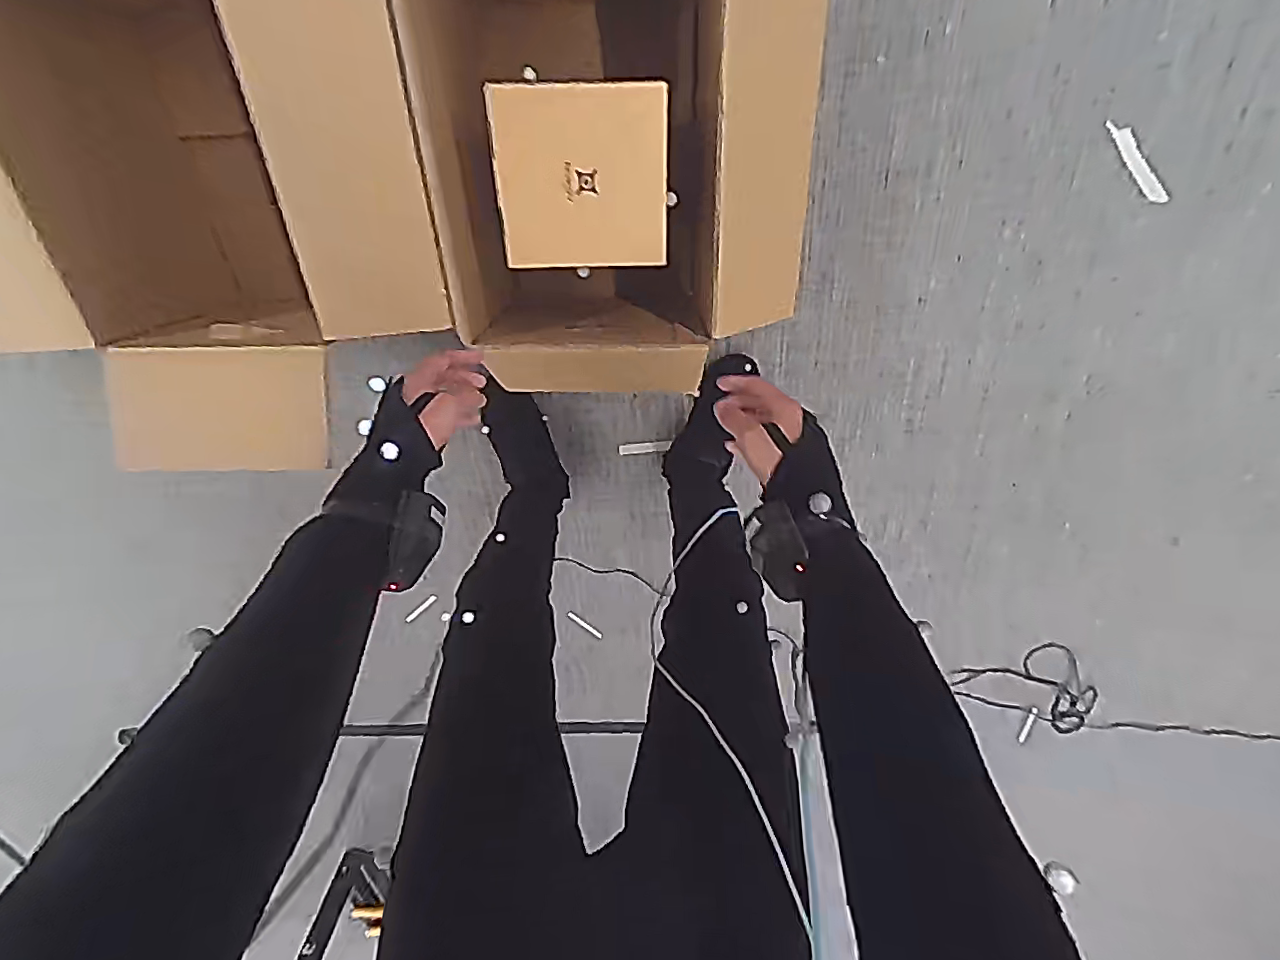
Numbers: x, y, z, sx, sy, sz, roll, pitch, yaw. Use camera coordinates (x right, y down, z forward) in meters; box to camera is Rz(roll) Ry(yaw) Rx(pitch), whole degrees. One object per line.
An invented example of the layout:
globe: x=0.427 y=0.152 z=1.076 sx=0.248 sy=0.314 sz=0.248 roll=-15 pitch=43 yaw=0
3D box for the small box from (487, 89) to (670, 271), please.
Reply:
small box: x=-0.058 y=-0.342 z=0.618 sx=0.179 sy=0.176 sz=0.168 roll=-1 pitch=122 yaw=1
